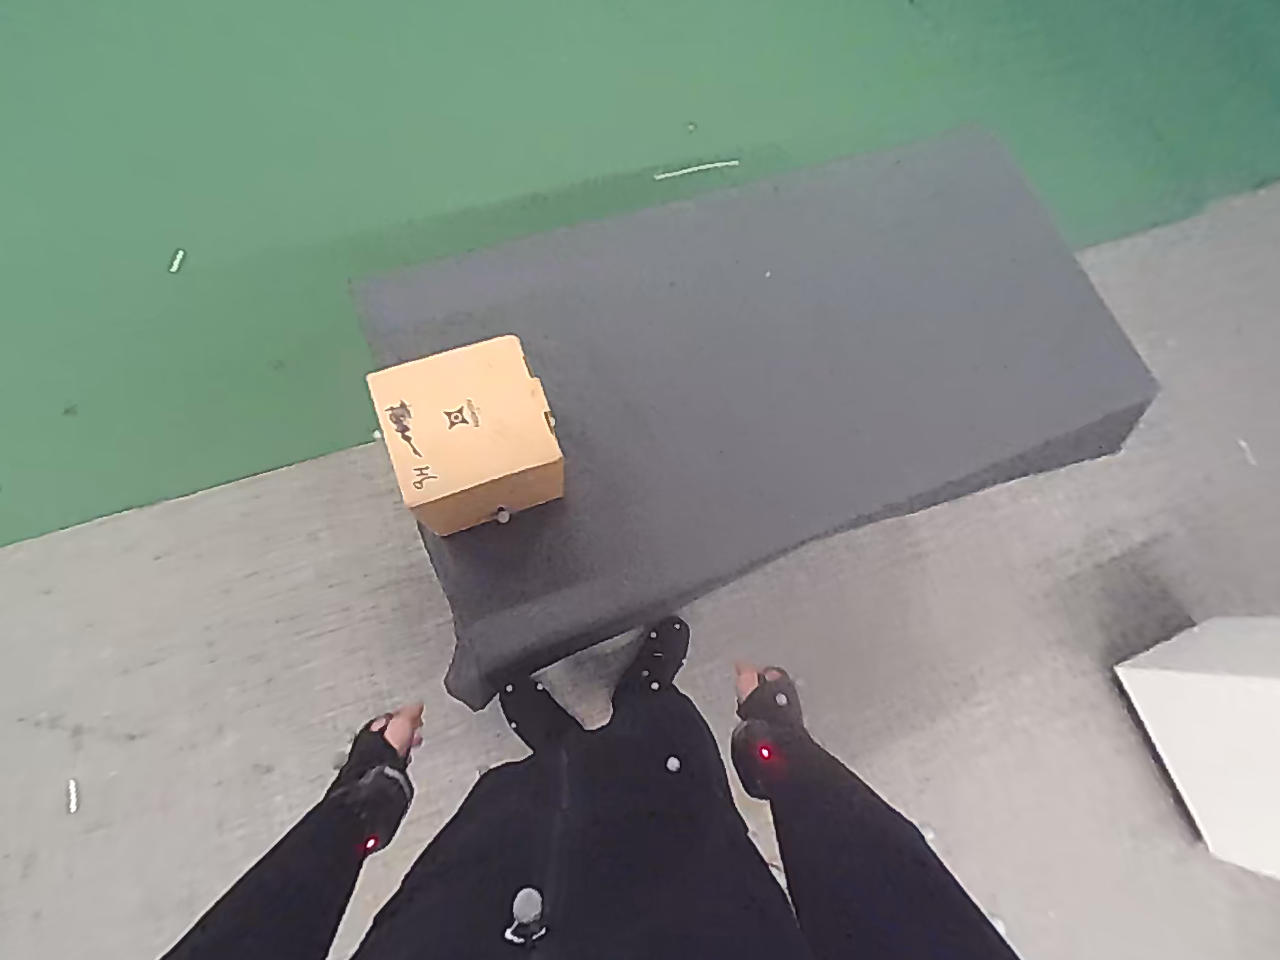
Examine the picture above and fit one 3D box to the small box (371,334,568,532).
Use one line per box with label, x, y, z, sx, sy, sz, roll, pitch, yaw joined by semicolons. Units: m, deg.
small box;-0.201;-0.050;0.667;0.179;0.176;0.168;-18;76;-15
